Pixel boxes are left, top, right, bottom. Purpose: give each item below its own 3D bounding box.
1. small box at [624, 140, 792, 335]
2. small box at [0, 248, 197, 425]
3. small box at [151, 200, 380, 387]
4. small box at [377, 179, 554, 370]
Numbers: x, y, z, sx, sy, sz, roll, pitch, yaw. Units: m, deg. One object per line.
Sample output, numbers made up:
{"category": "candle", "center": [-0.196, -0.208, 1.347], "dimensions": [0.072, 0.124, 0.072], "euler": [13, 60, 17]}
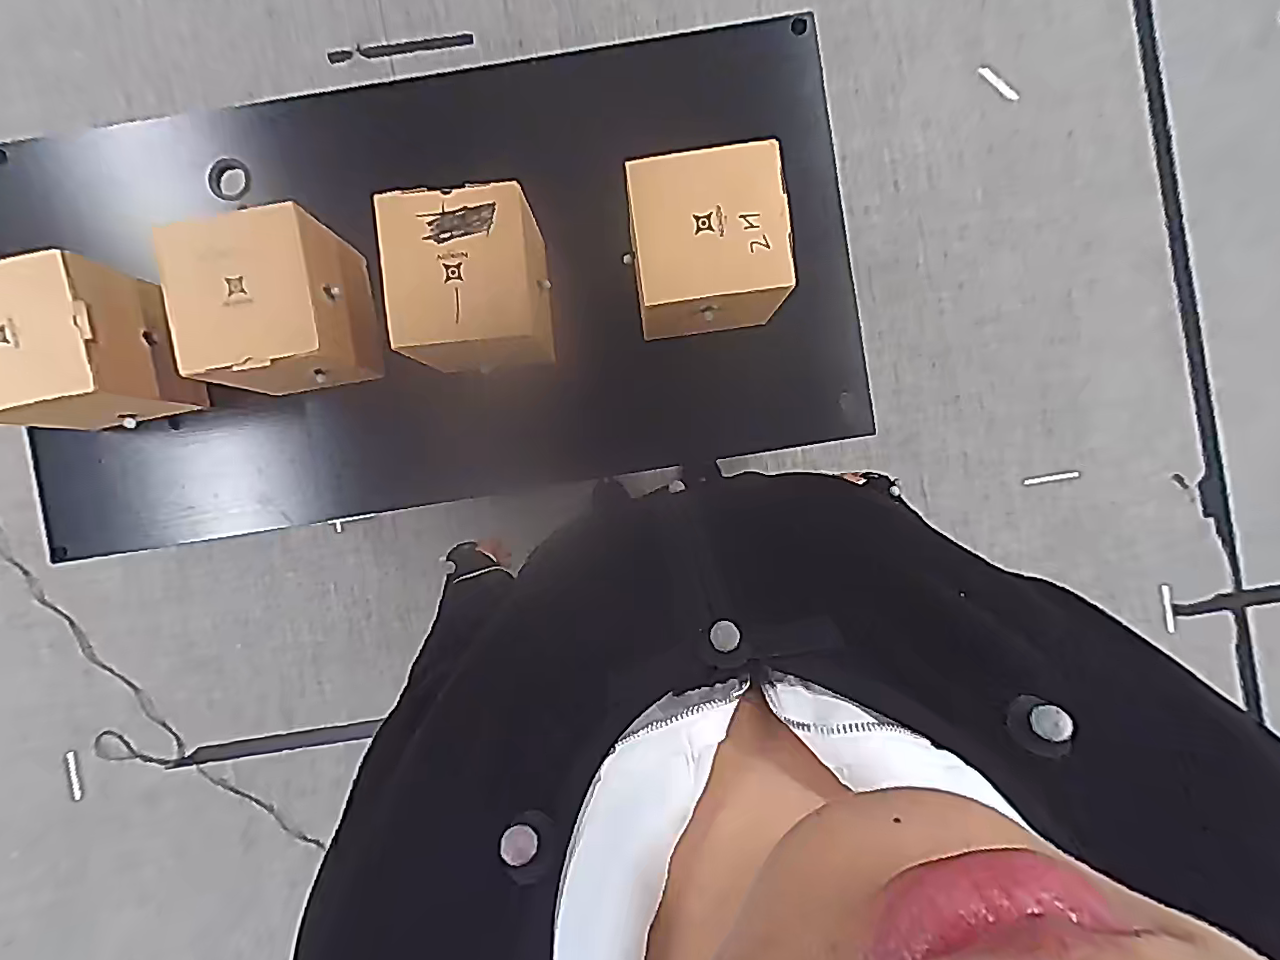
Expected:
{"category": "small box", "center": [0.078, -0.292, 0.689], "dimensions": [0.179, 0.176, 0.168], "euler": [-7, 92, 0]}
{"category": "small box", "center": [-0.715, -0.169, 0.689], "dimensions": [0.179, 0.176, 0.168], "euler": [-11, 91, -1]}
{"category": "small box", "center": [-0.458, -0.221, 0.691], "dimensions": [0.168, 0.176, 0.179], "euler": [-10, 91, -1]}
{"category": "small box", "center": [-0.209, -0.248, 0.690], "dimensions": [0.168, 0.176, 0.179], "euler": [-6, 92, 0]}
